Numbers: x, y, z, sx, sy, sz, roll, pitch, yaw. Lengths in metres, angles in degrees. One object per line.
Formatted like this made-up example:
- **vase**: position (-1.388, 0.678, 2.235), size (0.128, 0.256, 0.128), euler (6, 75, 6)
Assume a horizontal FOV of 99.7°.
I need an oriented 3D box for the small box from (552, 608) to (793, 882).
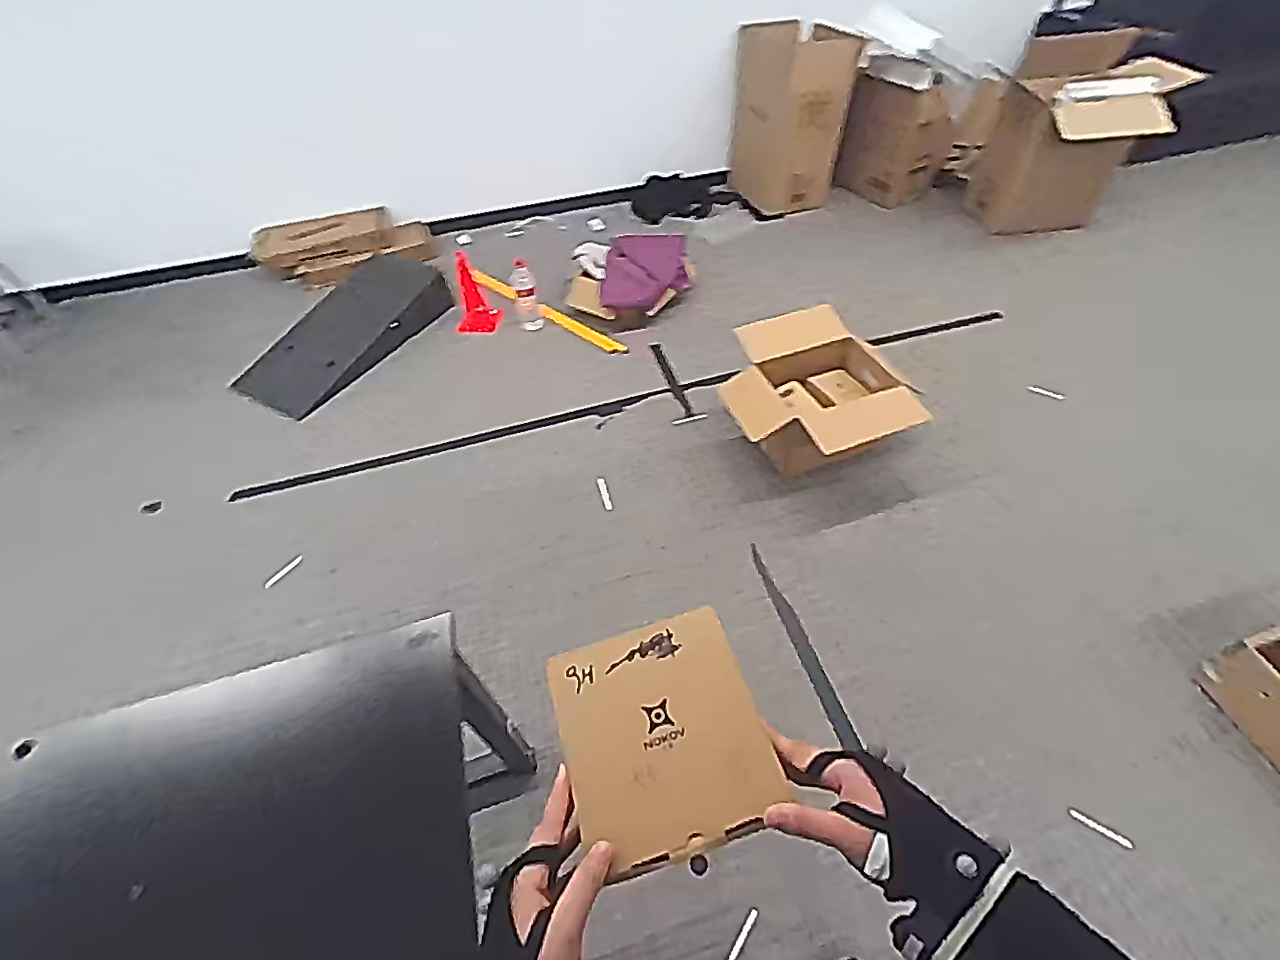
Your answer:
- **small box**: position (0.026, 0.252, 0.518), size (0.168, 0.176, 0.179), euler (-15, 55, -6)
